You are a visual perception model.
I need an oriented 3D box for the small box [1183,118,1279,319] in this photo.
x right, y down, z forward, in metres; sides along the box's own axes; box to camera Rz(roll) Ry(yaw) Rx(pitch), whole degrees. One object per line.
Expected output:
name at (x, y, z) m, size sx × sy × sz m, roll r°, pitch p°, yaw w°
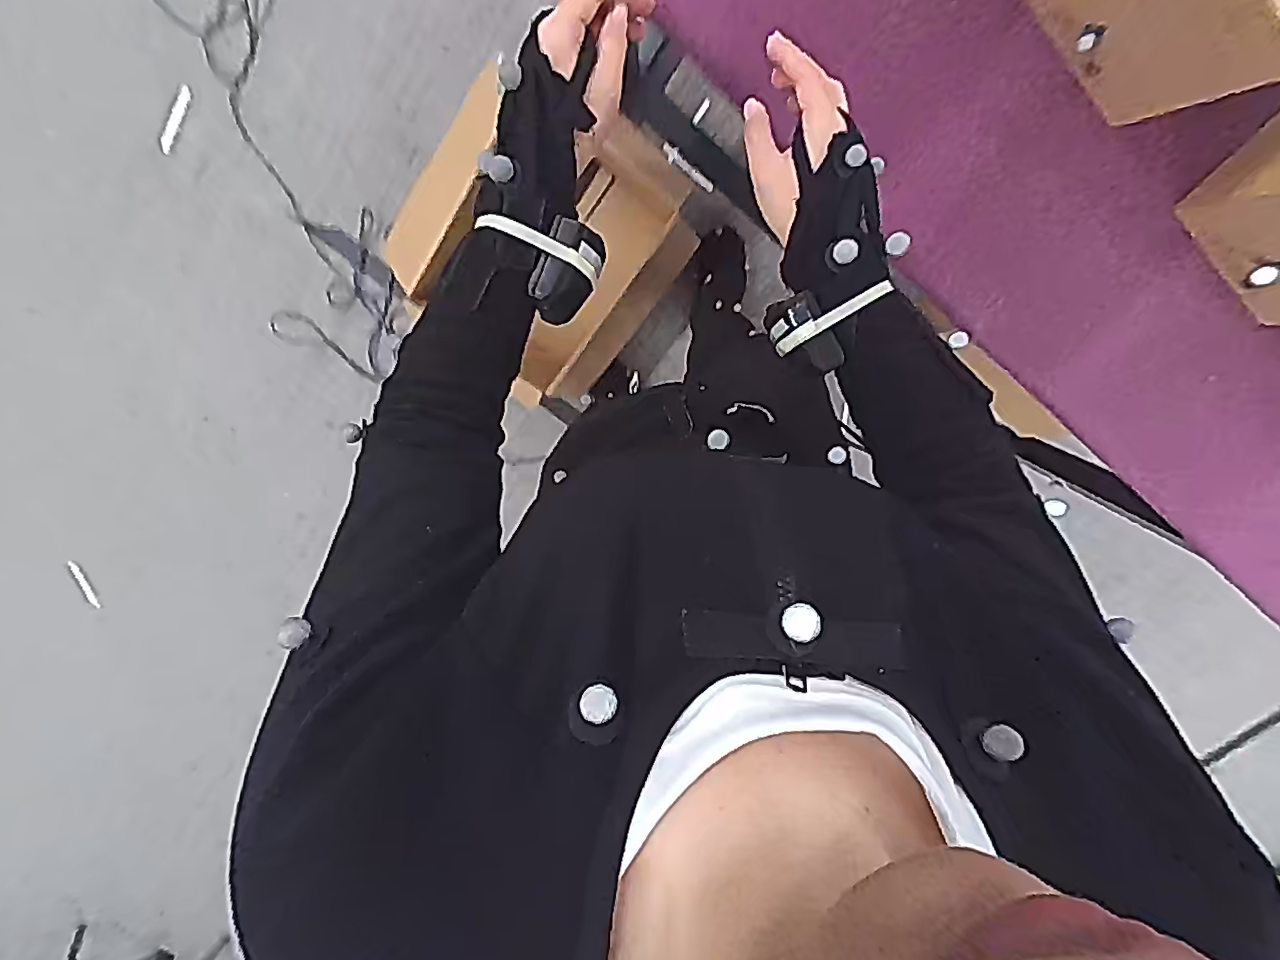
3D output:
small box at (0.630, -0.246, 0.441) m, size 0.168 × 0.176 × 0.179 m, roll 39°, pitch 107°, yaw -13°
